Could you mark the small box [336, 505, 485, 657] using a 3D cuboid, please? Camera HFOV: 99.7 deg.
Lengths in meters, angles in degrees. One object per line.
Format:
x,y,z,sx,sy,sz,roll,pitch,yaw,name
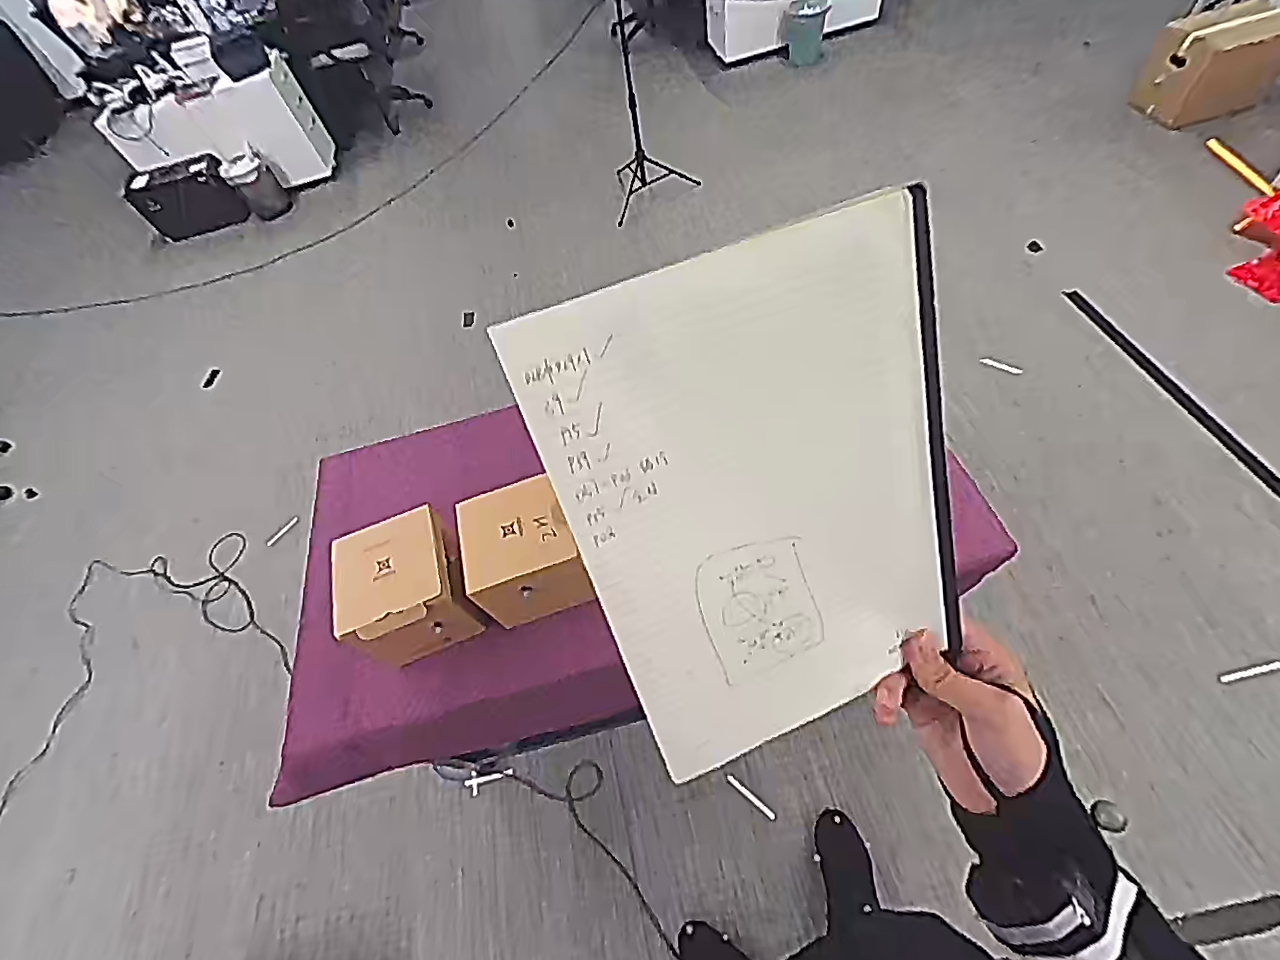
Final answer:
-0.375,0.178,0.900,0.168,0.176,0.179,-22,56,-4,small box
